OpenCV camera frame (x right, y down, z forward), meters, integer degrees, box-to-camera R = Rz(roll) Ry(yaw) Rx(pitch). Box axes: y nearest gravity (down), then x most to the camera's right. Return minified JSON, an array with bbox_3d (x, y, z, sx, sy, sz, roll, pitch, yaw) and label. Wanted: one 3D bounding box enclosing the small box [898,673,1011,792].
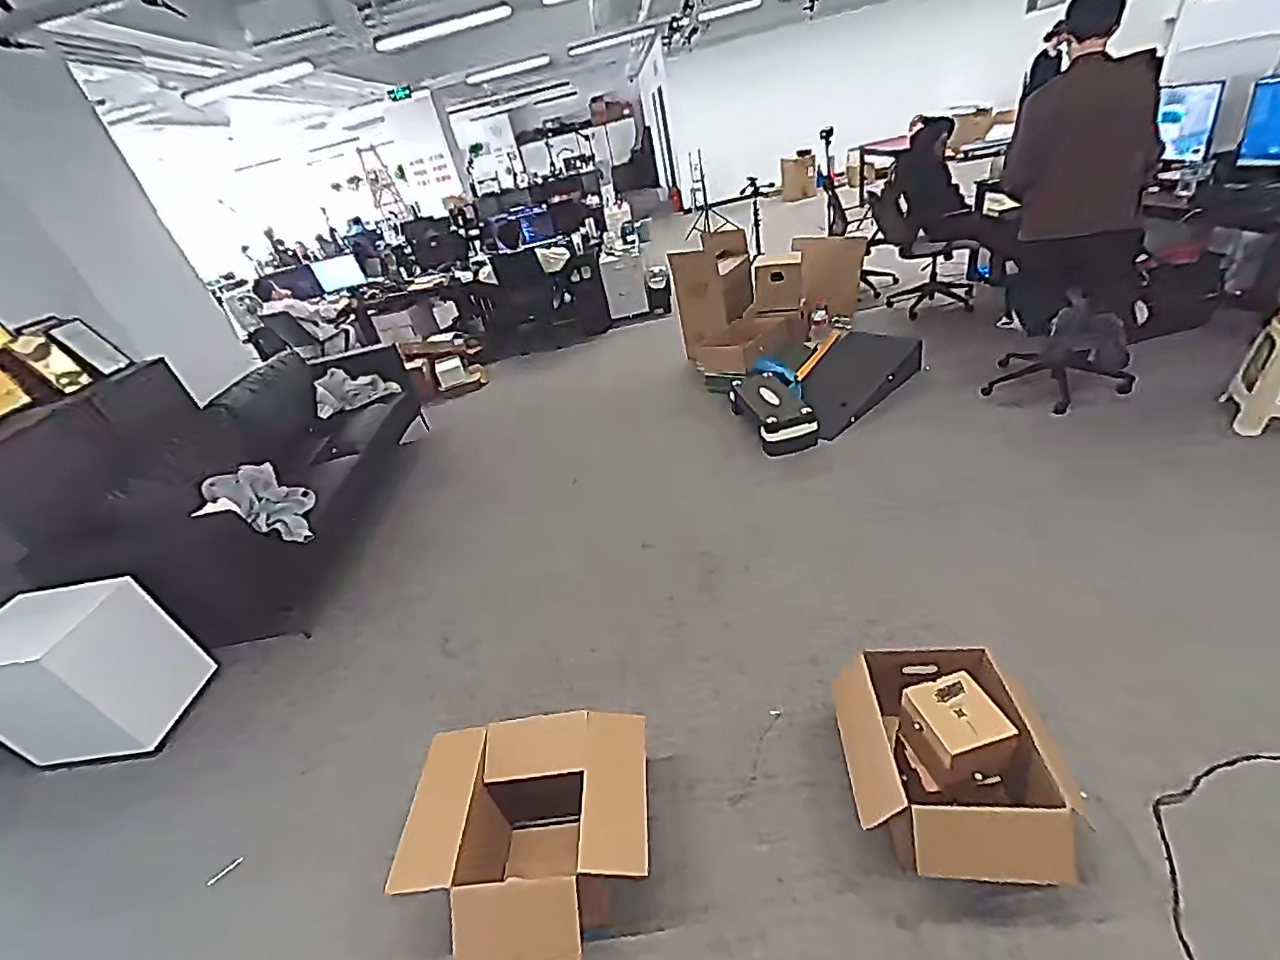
[{"bbox_3d":[0.739,0.601,1.292,0.168,0.176,0.179,-15,31,-1],"label":"small box"}]
